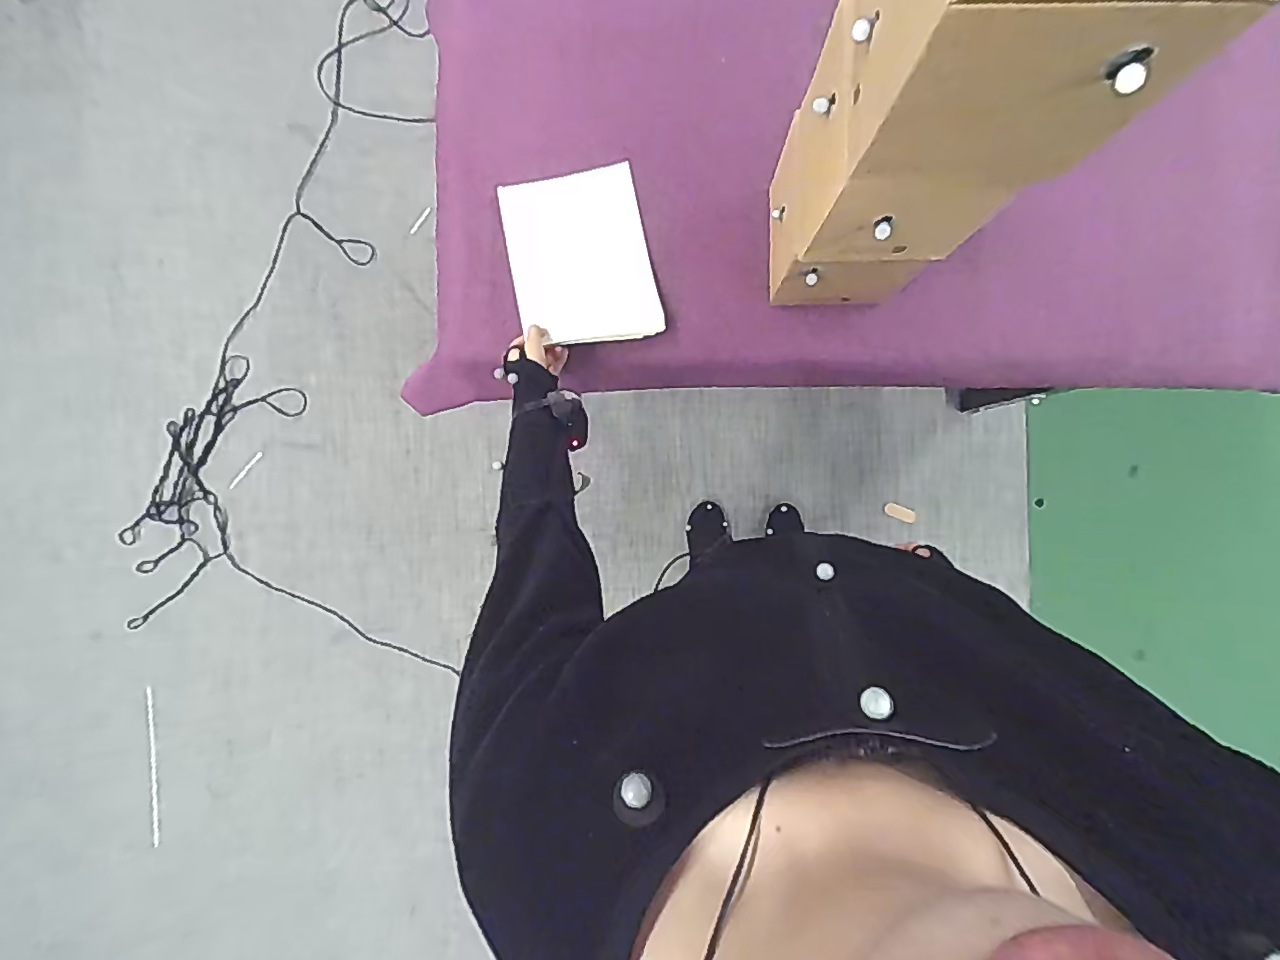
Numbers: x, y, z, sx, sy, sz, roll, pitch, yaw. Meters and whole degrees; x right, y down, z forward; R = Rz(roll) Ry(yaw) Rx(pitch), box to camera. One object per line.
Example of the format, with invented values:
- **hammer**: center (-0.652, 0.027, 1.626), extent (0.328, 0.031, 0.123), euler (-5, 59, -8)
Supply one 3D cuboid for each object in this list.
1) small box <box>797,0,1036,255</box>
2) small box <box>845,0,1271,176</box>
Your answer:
- **small box**: center (0.260, -0.340, 0.539), extent (0.168, 0.176, 0.179), euler (0, 88, 3)
- **small box**: center (0.261, -0.337, 0.374), extent (0.179, 0.176, 0.168), euler (3, 88, 3)
